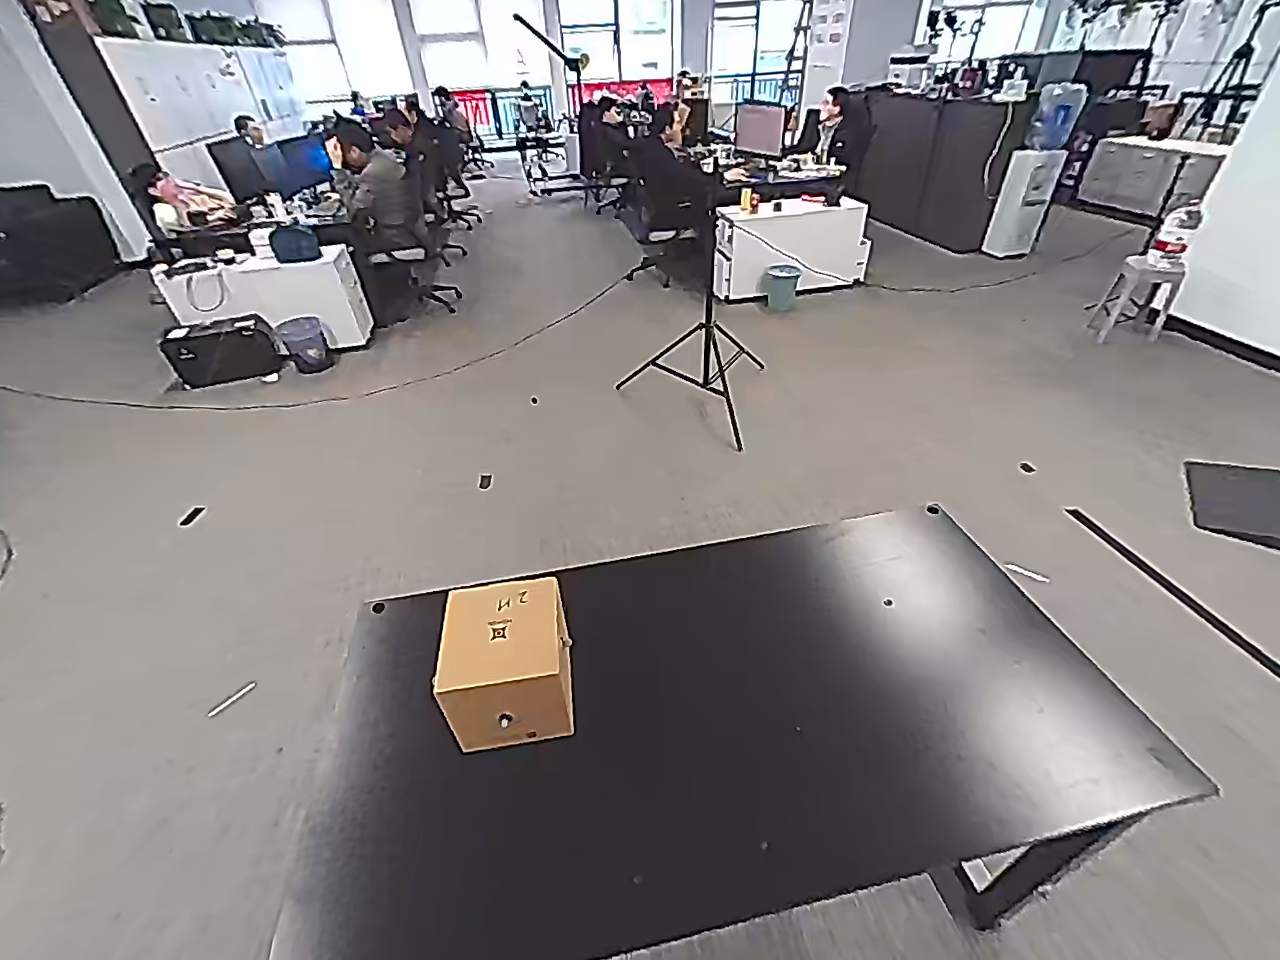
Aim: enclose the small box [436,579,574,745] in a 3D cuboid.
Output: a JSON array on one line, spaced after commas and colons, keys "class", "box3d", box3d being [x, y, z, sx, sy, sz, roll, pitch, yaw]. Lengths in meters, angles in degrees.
[{"class": "small box", "box3d": [-0.195, 0.281, 0.826, 0.168, 0.176, 0.179, -8, 38, -5]}]
